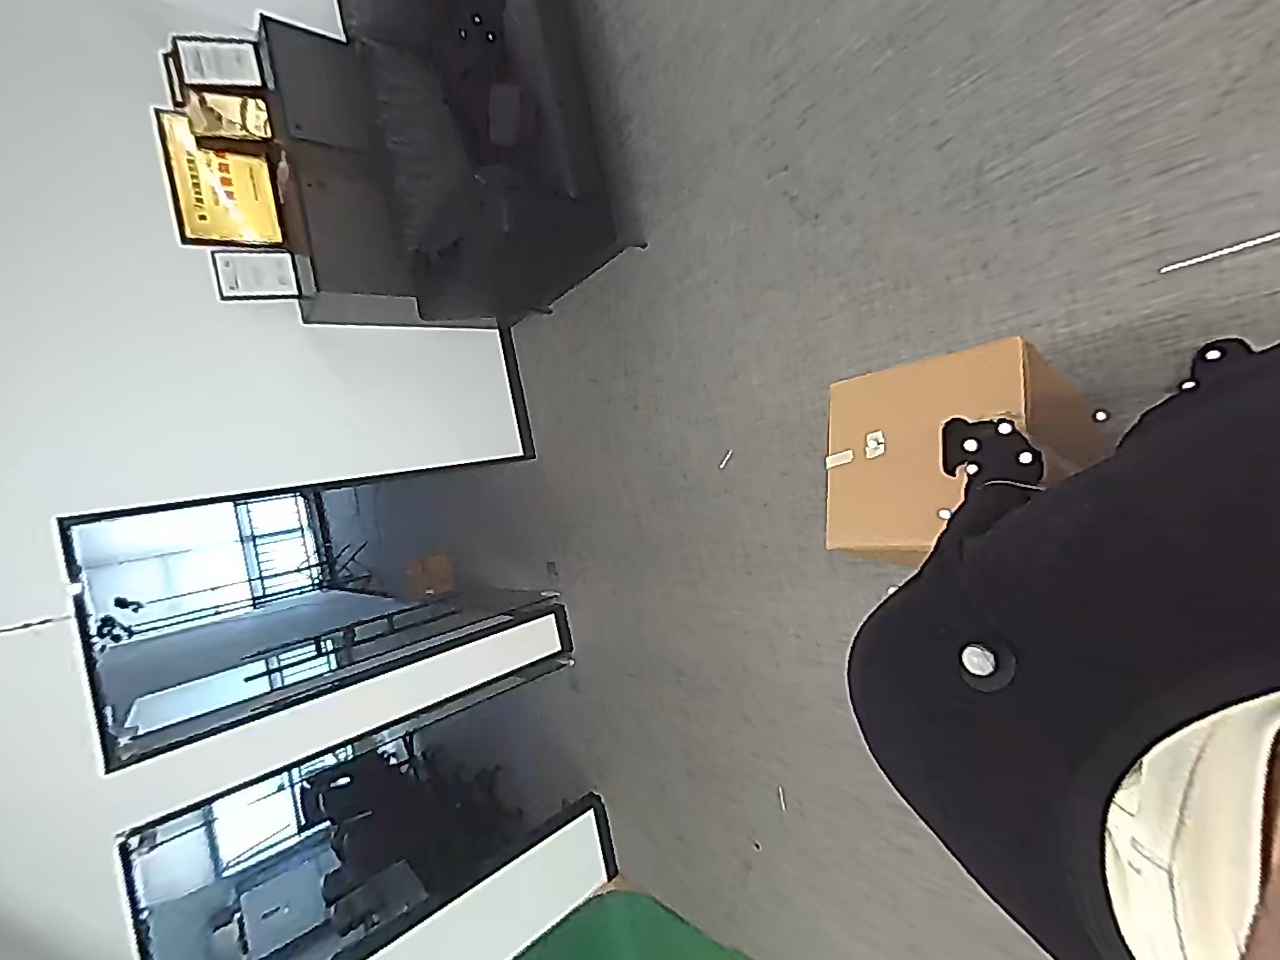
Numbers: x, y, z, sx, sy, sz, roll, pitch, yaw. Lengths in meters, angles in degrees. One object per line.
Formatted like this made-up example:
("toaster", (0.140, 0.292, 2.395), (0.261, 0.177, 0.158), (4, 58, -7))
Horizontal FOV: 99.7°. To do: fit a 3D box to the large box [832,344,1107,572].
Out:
("large box", (0.596, -0.002, 0.987), (0.320, 0.408, 0.320), (-8, 73, 50))
